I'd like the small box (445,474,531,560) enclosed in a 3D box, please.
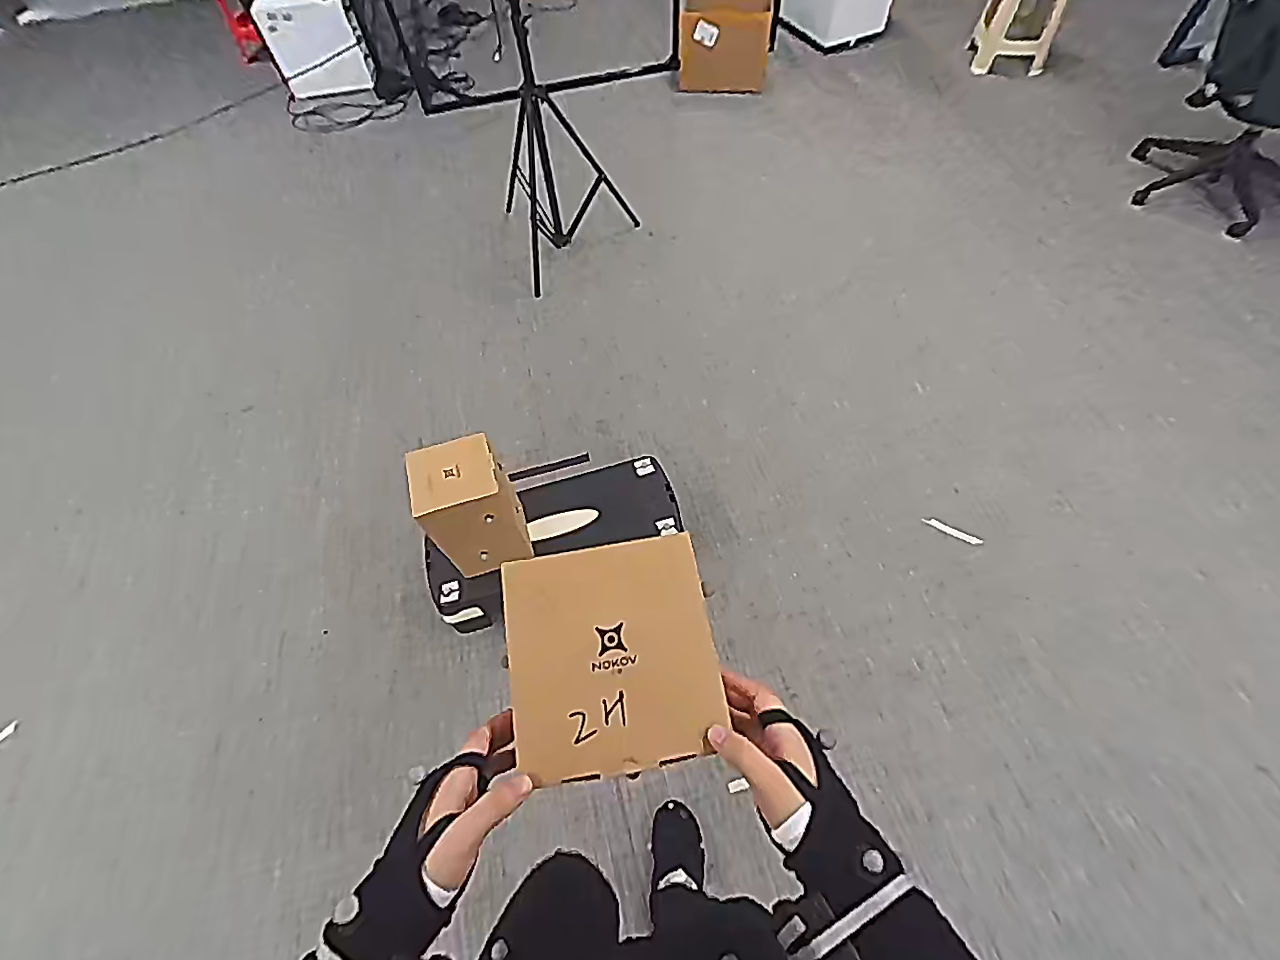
[{"bbox_3d":[-0.375,0.116,1.330,0.179,0.176,0.168,-17,60,-7],"label":"small box"}]

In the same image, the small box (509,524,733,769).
[{"bbox_3d":[-0.022,0.161,0.517,0.168,0.176,0.179,-9,67,-3],"label":"small box"}]

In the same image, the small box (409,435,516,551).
[{"bbox_3d":[-0.382,0.033,1.189,0.179,0.176,0.168,-18,59,-8],"label":"small box"}]
